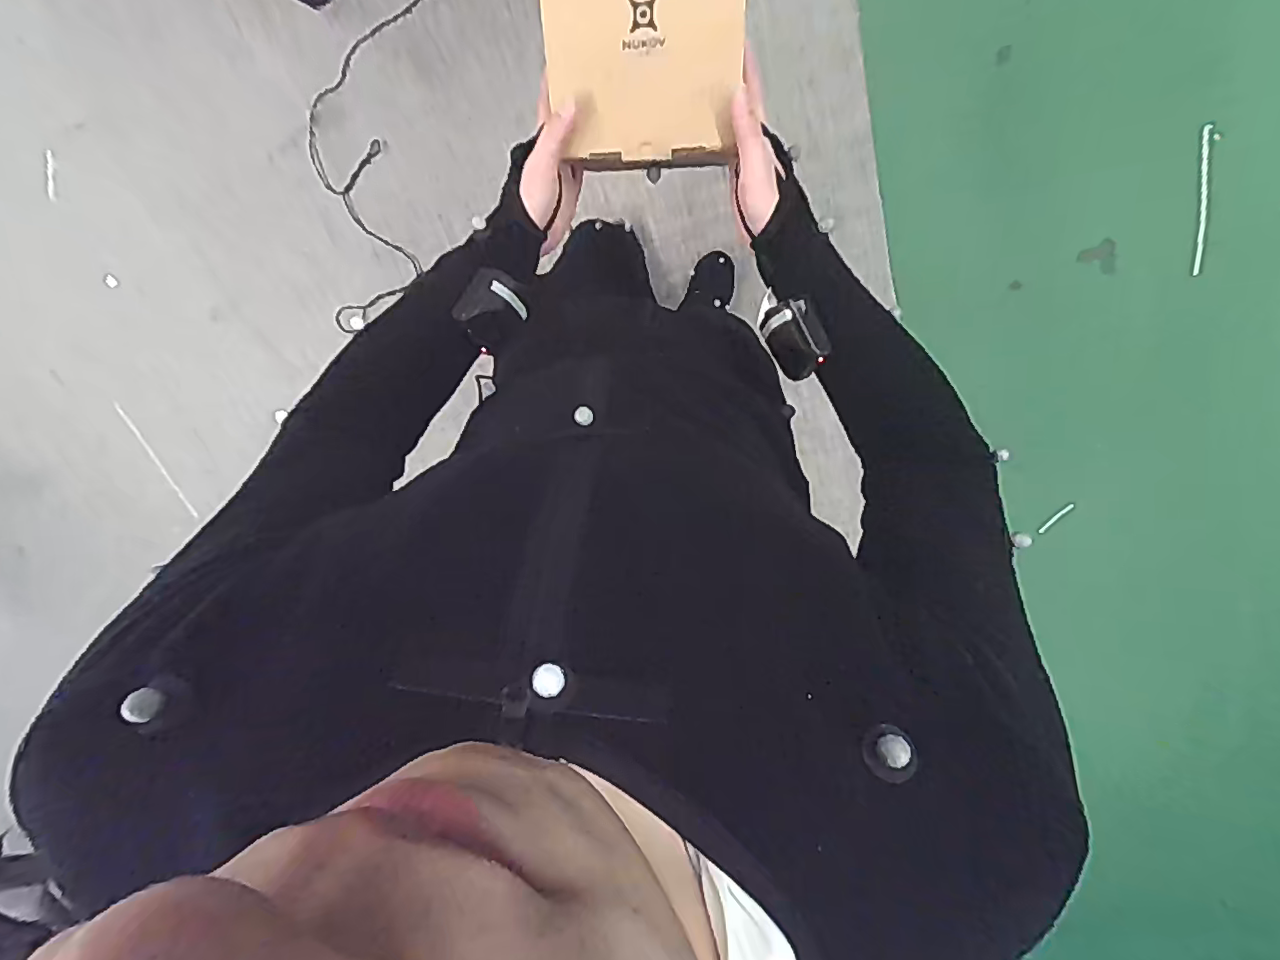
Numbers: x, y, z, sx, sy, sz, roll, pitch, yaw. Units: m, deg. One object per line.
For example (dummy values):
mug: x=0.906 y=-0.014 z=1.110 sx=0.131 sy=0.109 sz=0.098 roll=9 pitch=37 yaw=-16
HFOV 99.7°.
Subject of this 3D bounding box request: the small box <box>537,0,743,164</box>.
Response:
small box: x=0.010 y=-0.397 z=0.500 sx=0.168 sy=0.176 sz=0.179 roll=1 pitch=117 yaw=7
